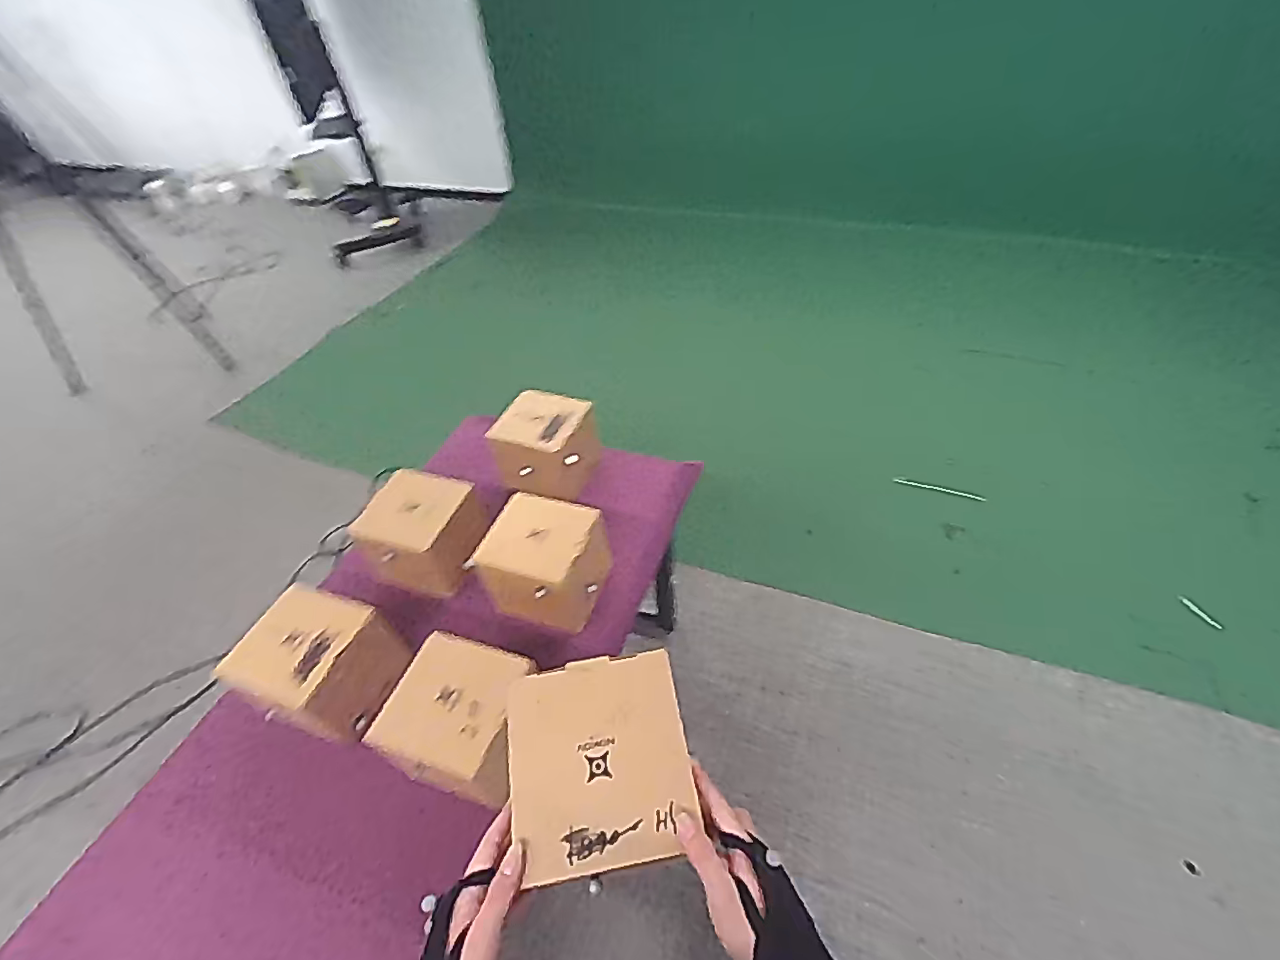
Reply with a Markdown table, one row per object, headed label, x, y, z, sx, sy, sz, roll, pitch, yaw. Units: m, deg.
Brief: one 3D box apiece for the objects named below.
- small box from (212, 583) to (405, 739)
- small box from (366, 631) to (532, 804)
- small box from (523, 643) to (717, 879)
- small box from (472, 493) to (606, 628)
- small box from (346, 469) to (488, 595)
| label | x | y | z | sx | sy | sz | roll | pitch | yaw |
| --- | --- | --- | --- | --- | --- | --- | --- | --- | --- |
| small box | -0.527 | 0.302 | 0.891 | 0.179 | 0.176 | 0.168 | 12 | 48 | 16 |
| small box | -0.259 | 0.358 | 0.812 | 0.179 | 0.176 | 0.168 | 11 | 48 | 16 |
| small box | -0.023 | 0.295 | 0.564 | 0.168 | 0.176 | 0.179 | -10 | 53 | -2 |
| small box | -0.177 | 0.151 | 1.007 | 0.179 | 0.176 | 0.168 | 12 | 48 | 16 |
| small box | -0.428 | 0.105 | 1.073 | 0.179 | 0.176 | 0.168 | 12 | 50 | 14 |
